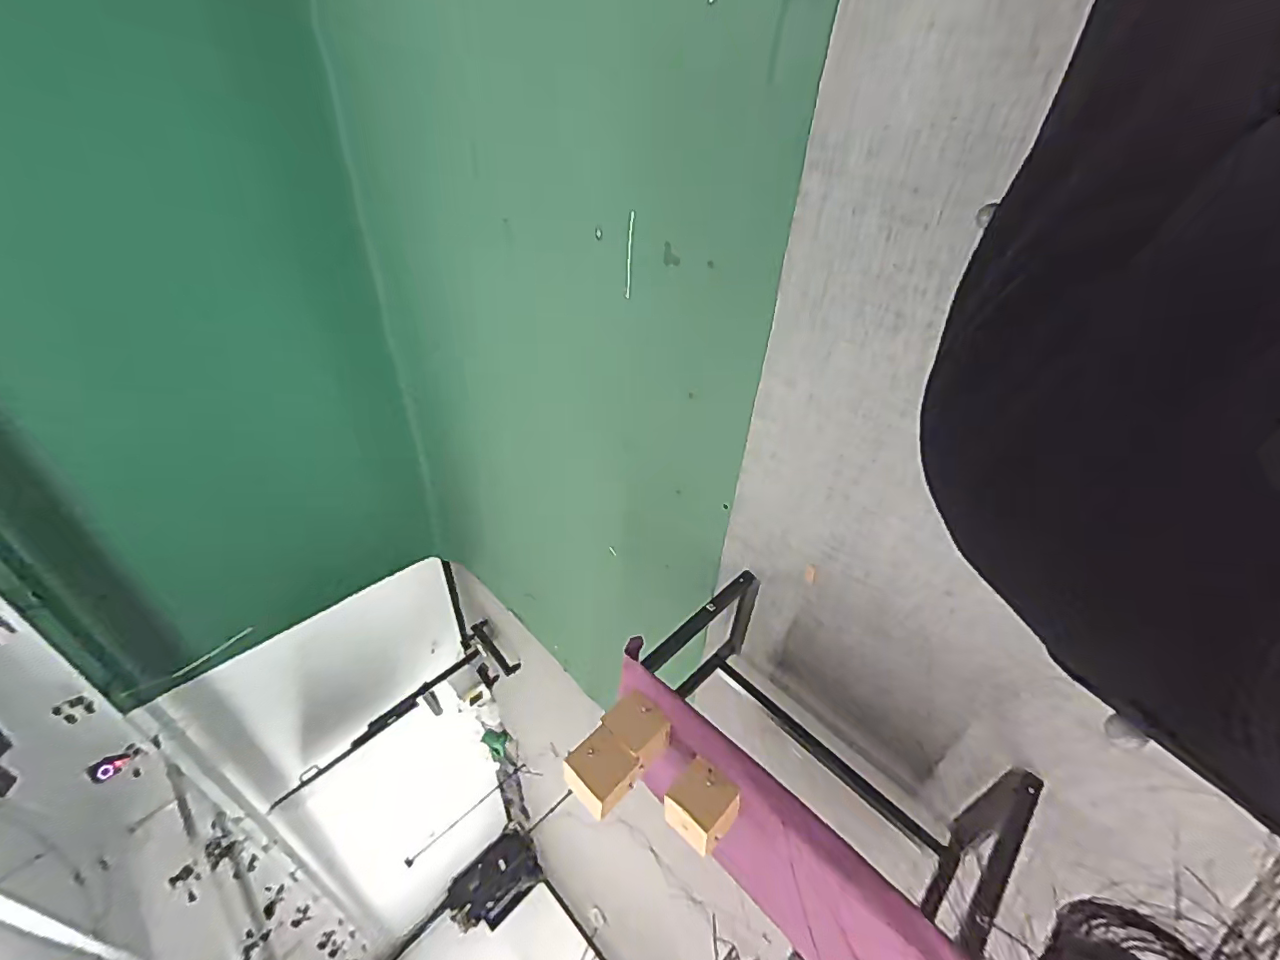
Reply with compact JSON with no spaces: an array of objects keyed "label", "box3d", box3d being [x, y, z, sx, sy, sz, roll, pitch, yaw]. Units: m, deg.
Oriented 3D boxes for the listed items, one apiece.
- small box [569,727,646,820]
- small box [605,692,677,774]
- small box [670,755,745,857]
[{"label":"small box","box3d":[-0.105,0.921,1.718,0.179,0.176,0.168,35,138,29]},{"label":"small box","box3d":[0.002,0.843,1.813,0.179,0.176,0.168,30,135,34]},{"label":"small box","box3d":[0.210,1.003,1.673,0.168,0.176,0.179,28,135,36]}]
